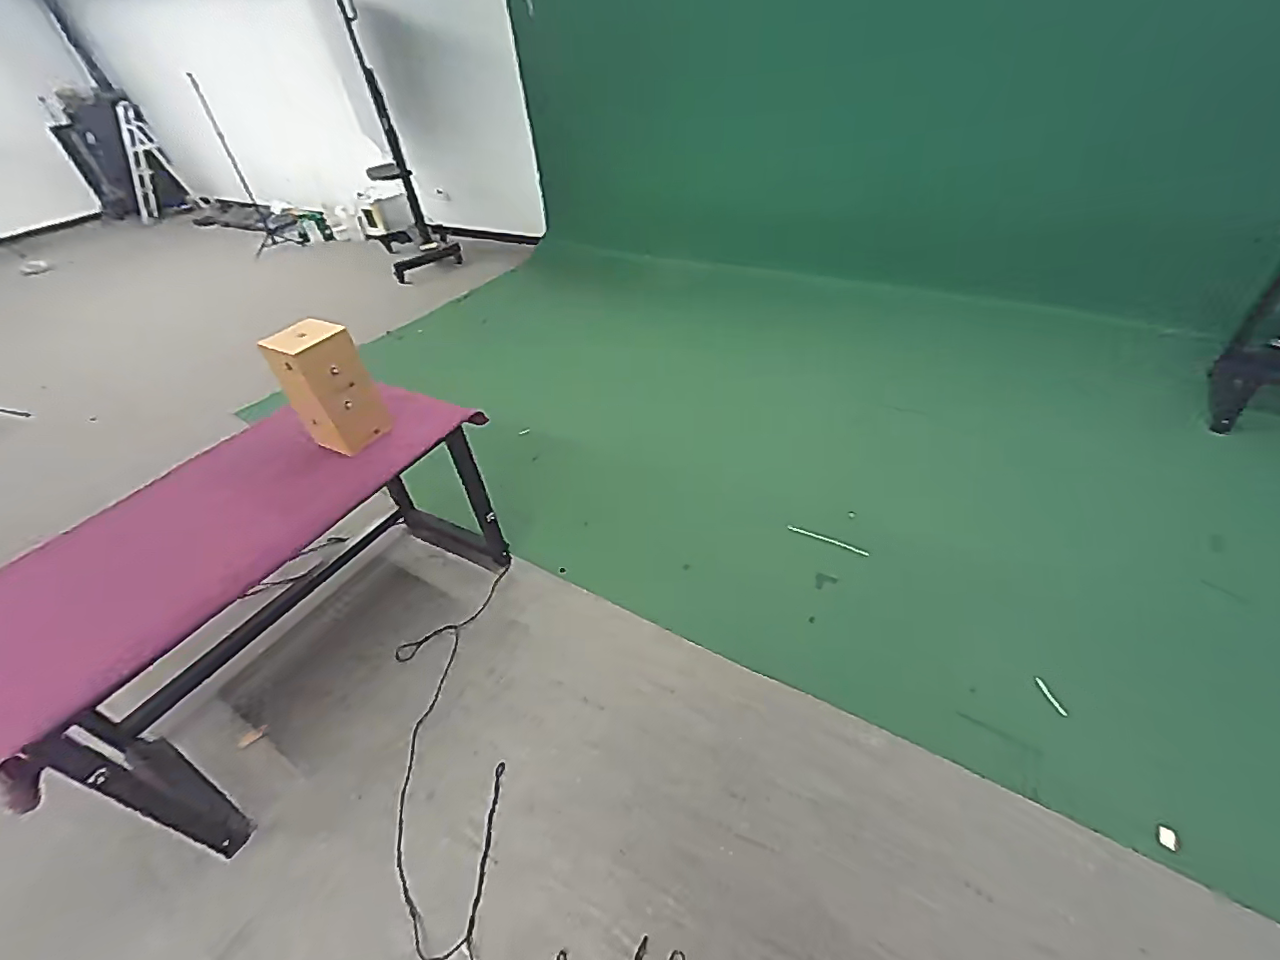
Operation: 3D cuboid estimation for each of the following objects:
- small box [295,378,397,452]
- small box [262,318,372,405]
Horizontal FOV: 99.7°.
[{"bbox_3d":[-0.870,-0.204,1.612,0.179,0.176,0.168,17,48,26],"label":"small box"},{"bbox_3d":[-0.888,-0.327,1.503,0.179,0.176,0.168,18,47,27],"label":"small box"}]
